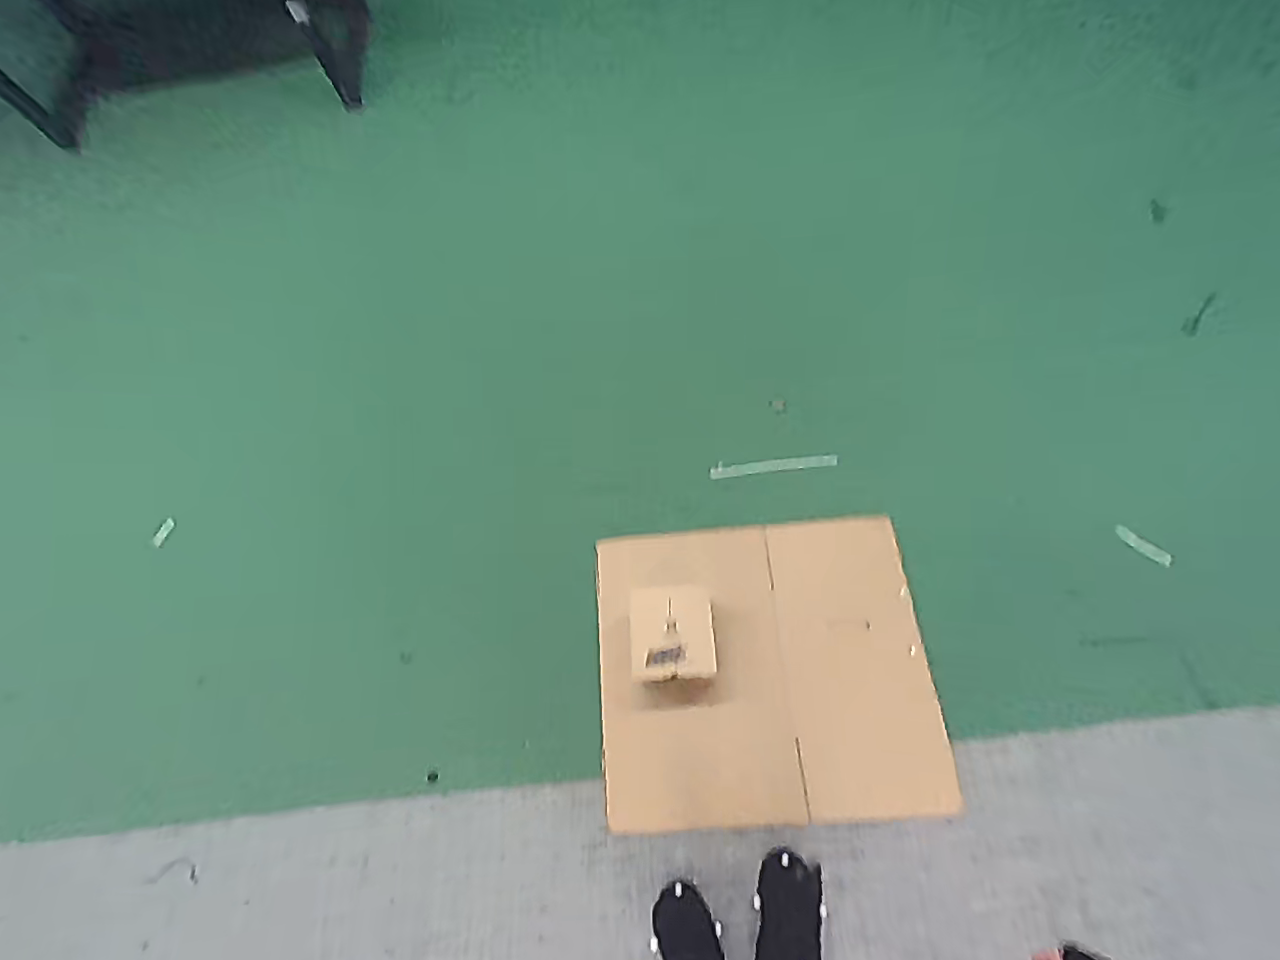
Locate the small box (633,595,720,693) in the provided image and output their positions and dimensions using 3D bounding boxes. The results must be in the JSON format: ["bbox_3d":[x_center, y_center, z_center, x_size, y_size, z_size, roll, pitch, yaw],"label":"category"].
[{"bbox_3d":[0.078,0.347,1.126,0.168,0.176,0.179,-5,65,5],"label":"small box"}]
